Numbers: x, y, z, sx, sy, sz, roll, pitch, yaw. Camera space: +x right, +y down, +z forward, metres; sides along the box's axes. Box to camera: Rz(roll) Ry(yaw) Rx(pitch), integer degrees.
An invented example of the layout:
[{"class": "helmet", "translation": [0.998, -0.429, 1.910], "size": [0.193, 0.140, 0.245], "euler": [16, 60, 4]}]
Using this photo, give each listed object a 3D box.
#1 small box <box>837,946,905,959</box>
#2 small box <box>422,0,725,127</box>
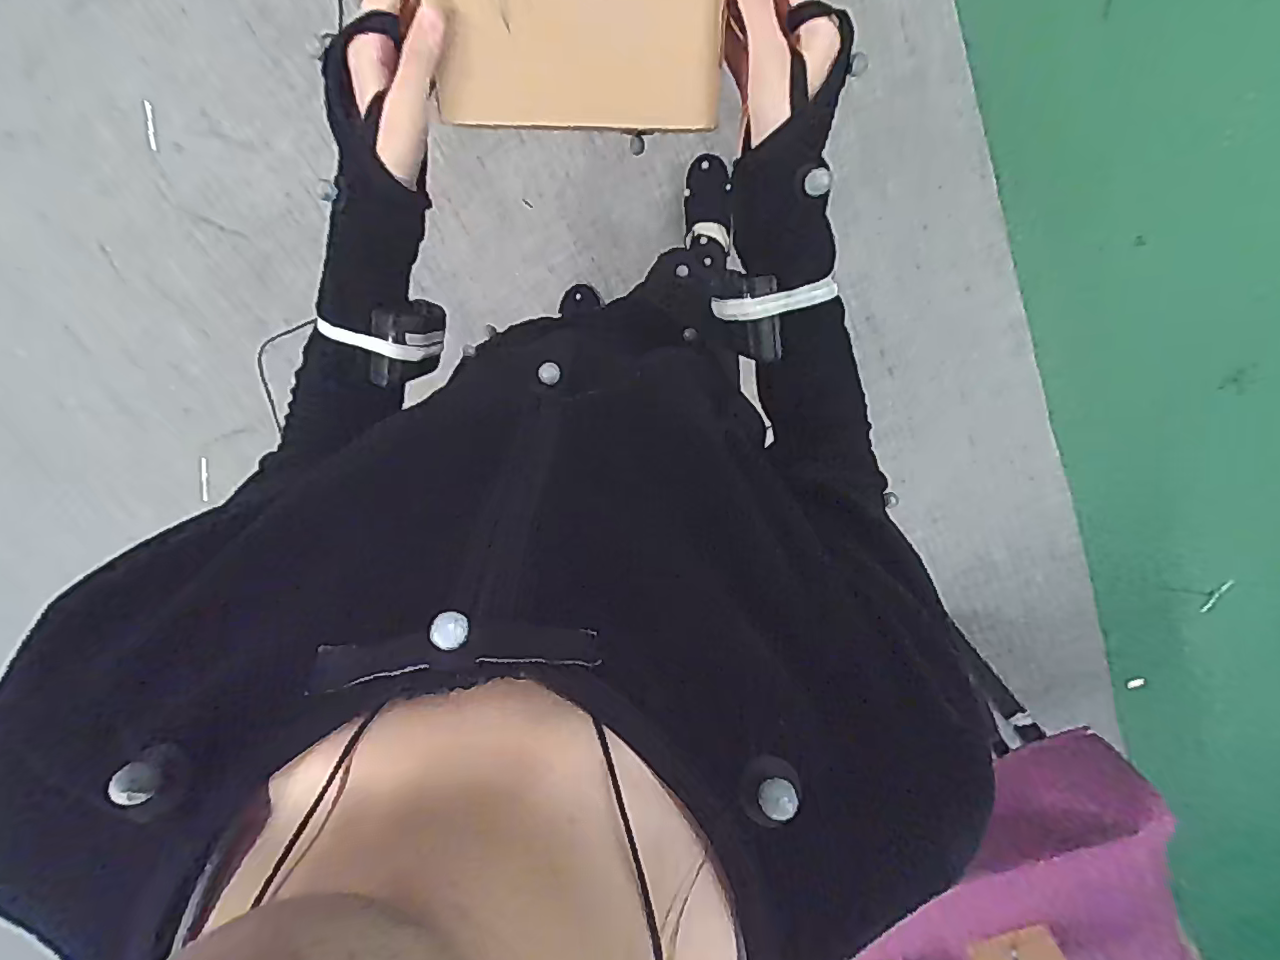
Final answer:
[{"class": "small box", "translation": [0.567, 1.216, 1.231], "size": [0.168, 0.176, 0.179], "euler": [-33, 109, 14]}, {"class": "small box", "translation": [-0.046, -0.339, 0.361], "size": [0.179, 0.176, 0.168], "euler": [-3, 123, -7]}]
